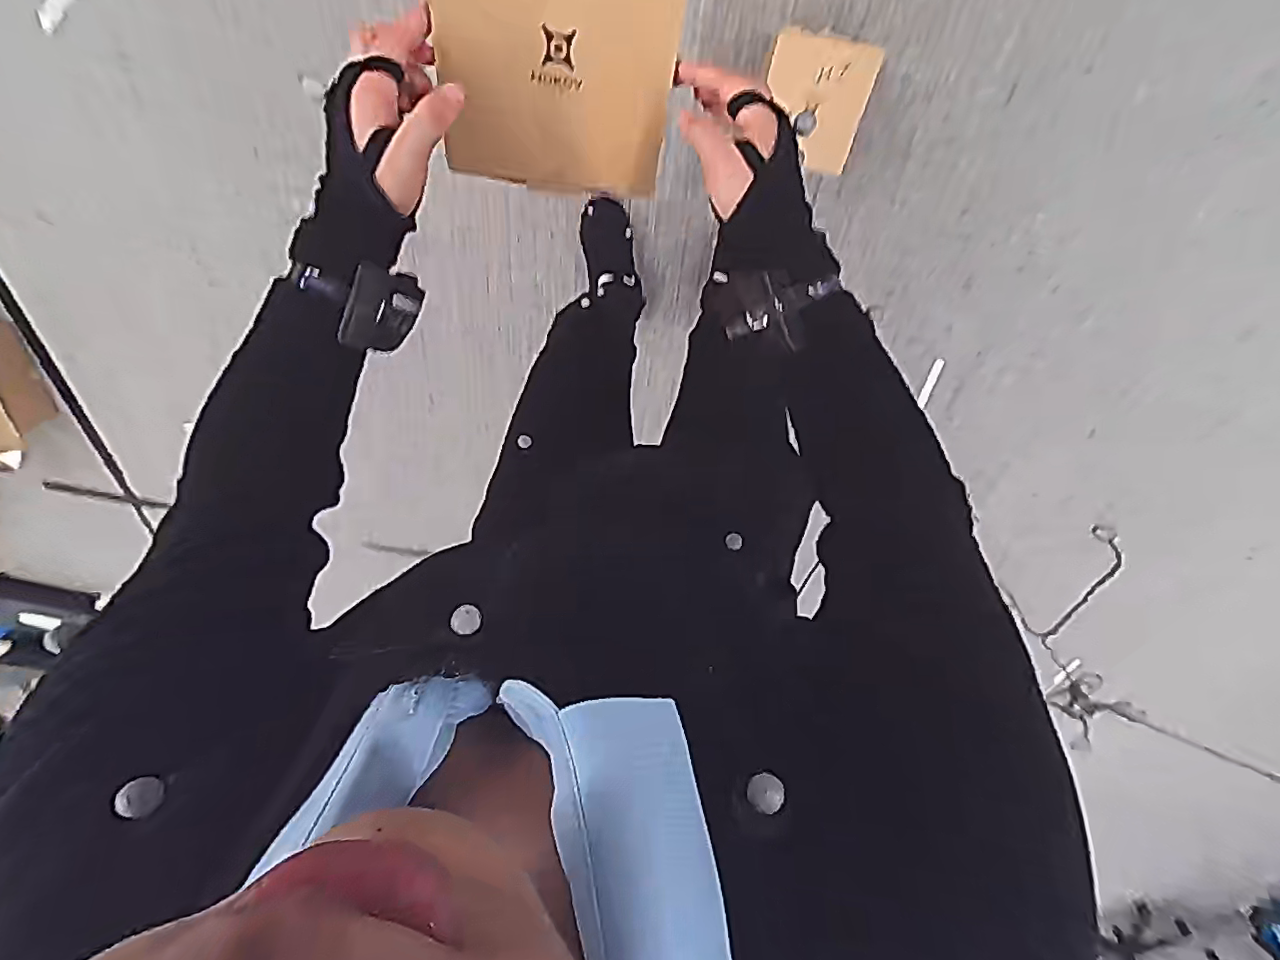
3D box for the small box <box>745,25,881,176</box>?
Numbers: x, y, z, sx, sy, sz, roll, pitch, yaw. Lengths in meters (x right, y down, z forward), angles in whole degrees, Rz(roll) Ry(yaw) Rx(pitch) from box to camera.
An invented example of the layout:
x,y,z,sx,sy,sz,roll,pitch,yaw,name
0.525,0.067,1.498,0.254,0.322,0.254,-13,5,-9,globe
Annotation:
x,y,z,sx,sy,sz,roll,pitch,yaw,name
0.284,-0.652,0.933,0.168,0.176,0.179,12,128,-1,small box
